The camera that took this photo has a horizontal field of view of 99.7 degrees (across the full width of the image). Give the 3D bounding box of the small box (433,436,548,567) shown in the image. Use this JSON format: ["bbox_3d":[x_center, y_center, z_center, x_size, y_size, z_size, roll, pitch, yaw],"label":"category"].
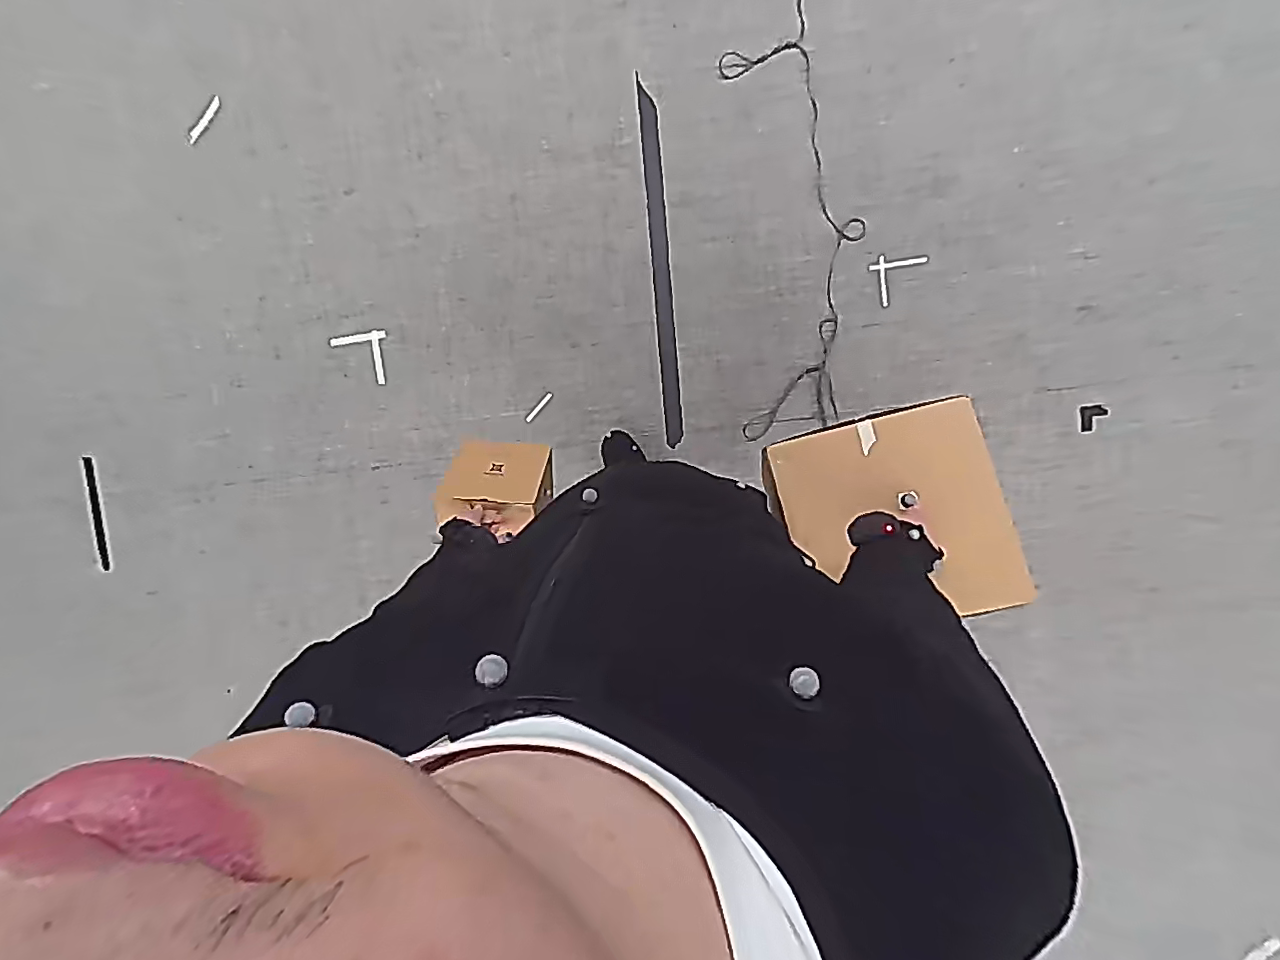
[{"bbox_3d":[-0.263,0.041,1.000,0.168,0.179,0.176,6,128,-3],"label":"small box"}]
